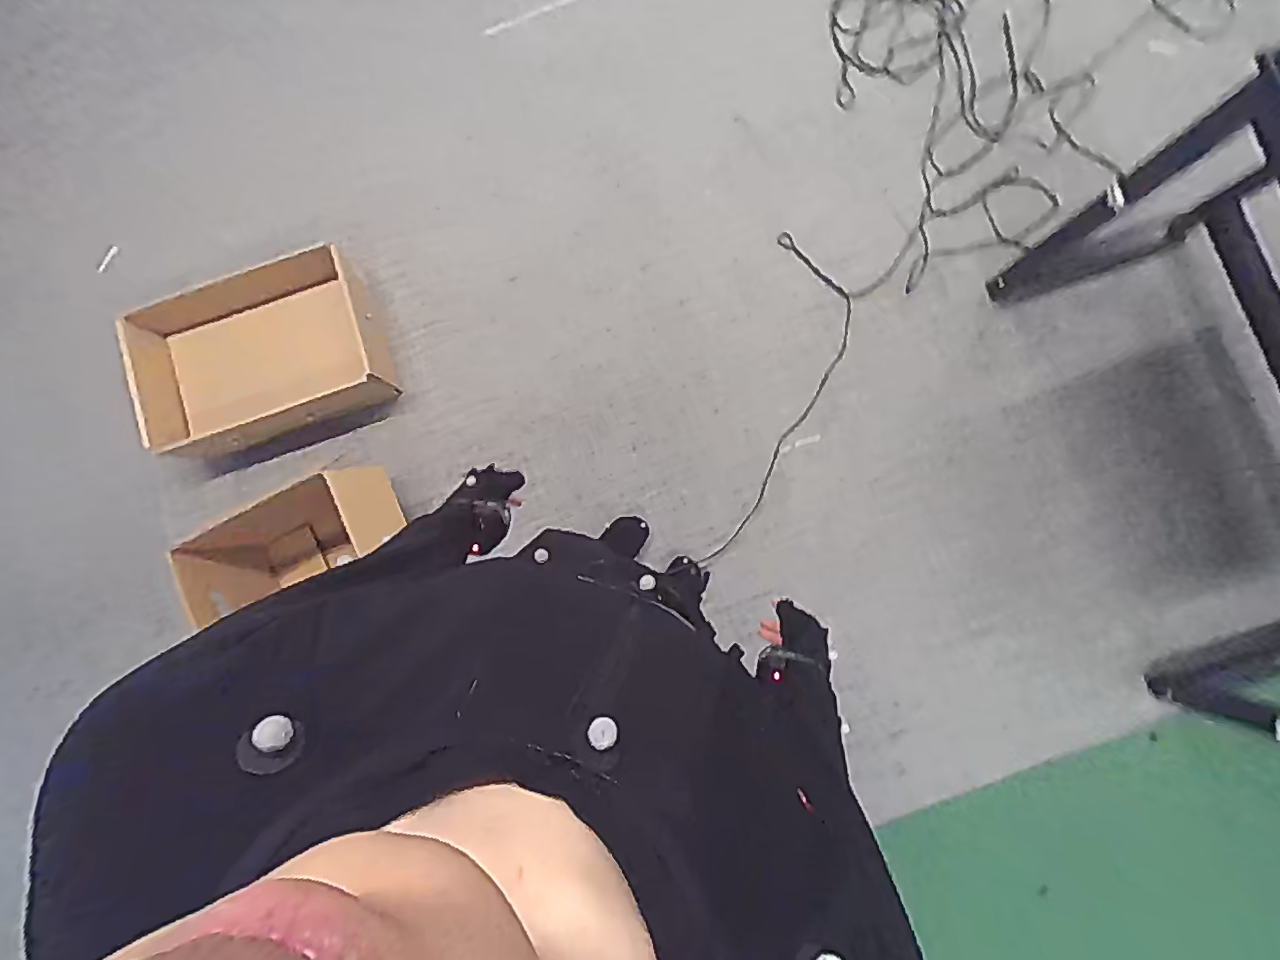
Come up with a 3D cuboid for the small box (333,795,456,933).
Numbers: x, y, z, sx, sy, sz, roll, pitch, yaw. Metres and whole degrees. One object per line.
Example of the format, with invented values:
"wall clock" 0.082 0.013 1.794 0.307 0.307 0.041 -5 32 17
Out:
"small box" -0.526 0.819 1.178 0.168 0.176 0.179 -18 83 1
